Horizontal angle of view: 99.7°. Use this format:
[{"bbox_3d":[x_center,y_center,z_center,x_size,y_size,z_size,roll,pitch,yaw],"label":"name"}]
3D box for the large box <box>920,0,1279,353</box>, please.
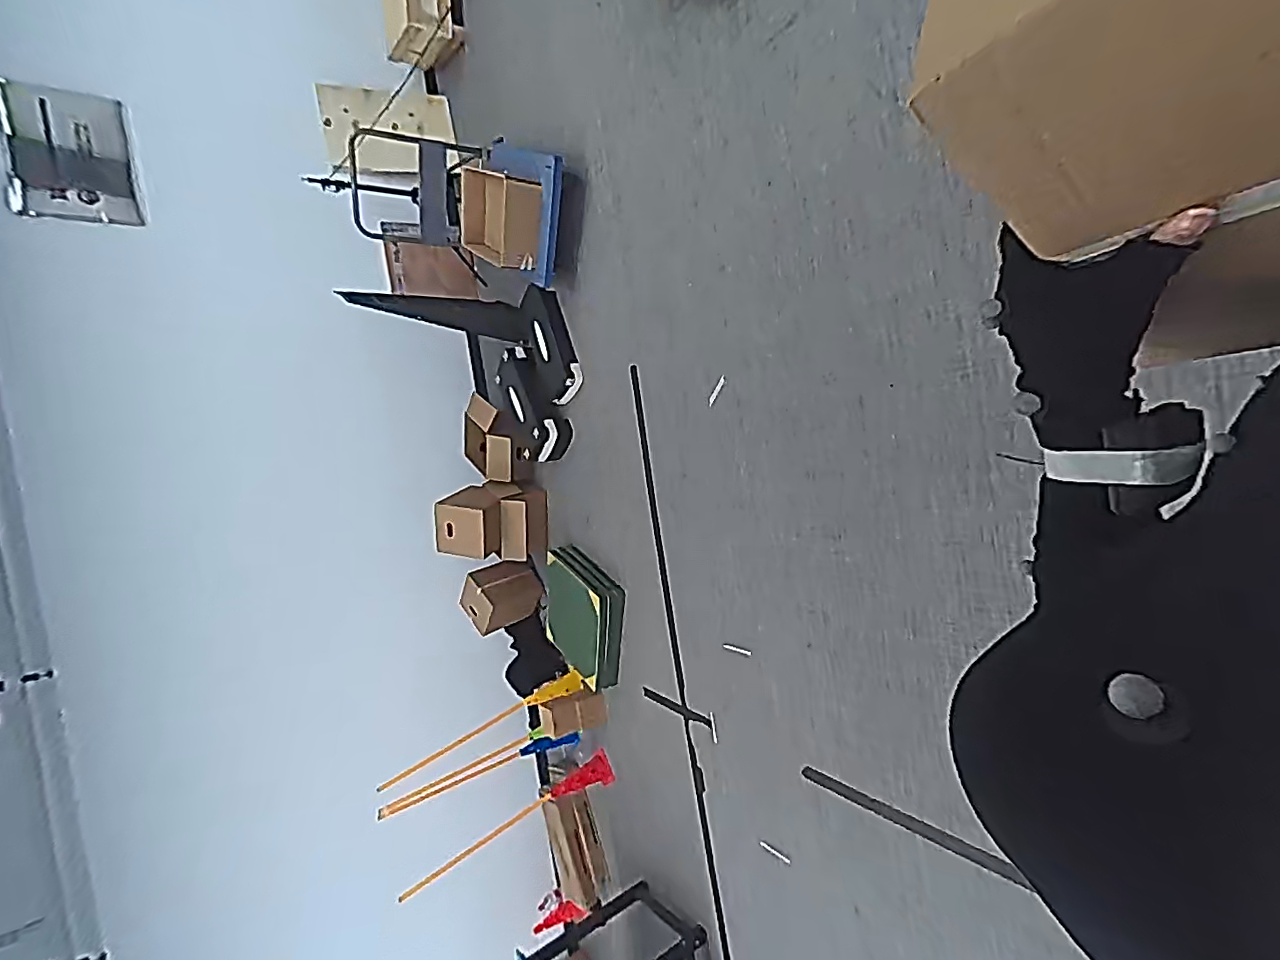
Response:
[{"bbox_3d":[0.402,-0.300,0.211,0.408,0.320,0.320,-6,66,58],"label":"large box"}]
